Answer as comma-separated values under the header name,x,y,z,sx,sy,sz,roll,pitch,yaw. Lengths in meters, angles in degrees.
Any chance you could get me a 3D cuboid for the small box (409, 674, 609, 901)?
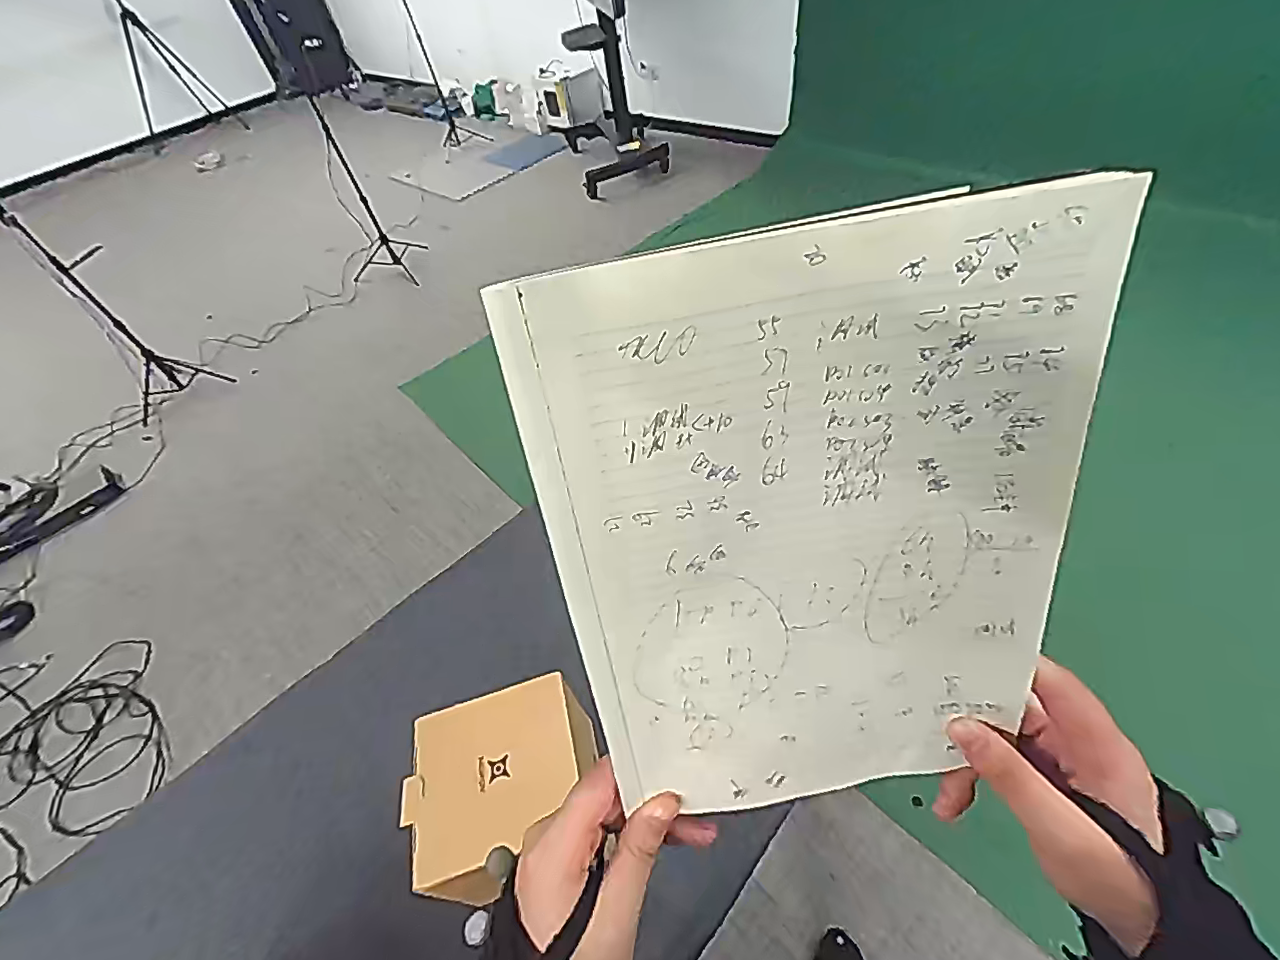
name,x,y,z,sx,sy,sz,roll,pitch,yaw
small box,-0.141,0.354,0.619,0.179,0.176,0.168,-18,48,-3
